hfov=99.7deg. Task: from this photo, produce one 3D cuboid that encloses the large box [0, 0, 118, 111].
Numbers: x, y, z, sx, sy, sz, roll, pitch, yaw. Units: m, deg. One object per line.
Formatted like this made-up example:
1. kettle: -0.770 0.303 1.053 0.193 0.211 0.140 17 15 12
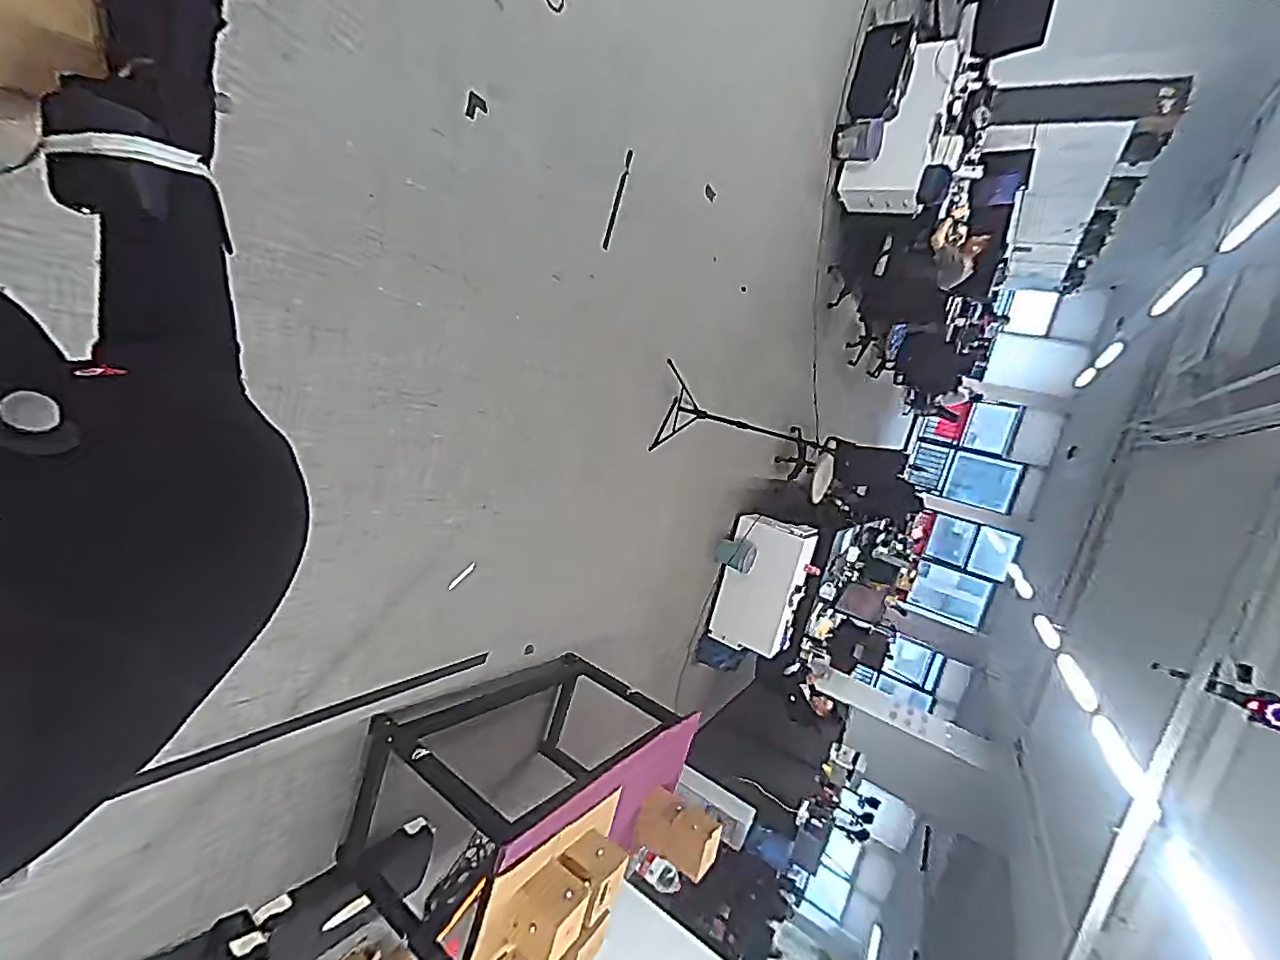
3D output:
1. large box: -0.552 -0.414 0.228 0.408 0.320 0.320 -13 121 -59
